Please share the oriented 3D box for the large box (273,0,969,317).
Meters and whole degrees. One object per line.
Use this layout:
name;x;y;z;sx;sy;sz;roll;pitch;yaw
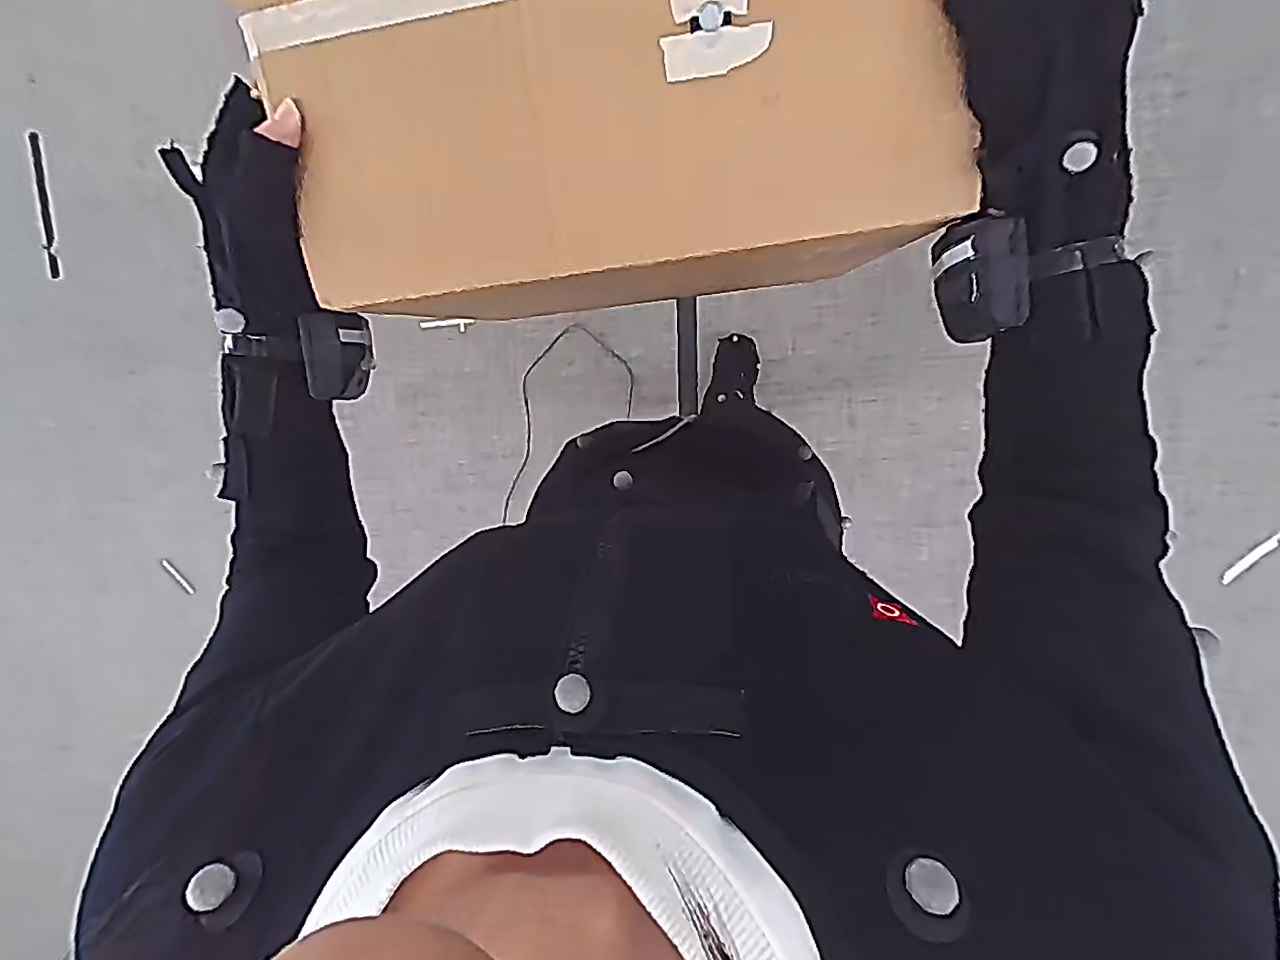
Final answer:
large box;-0.011;-0.328;0.449;0.408;0.320;0.320;-6;105;8
